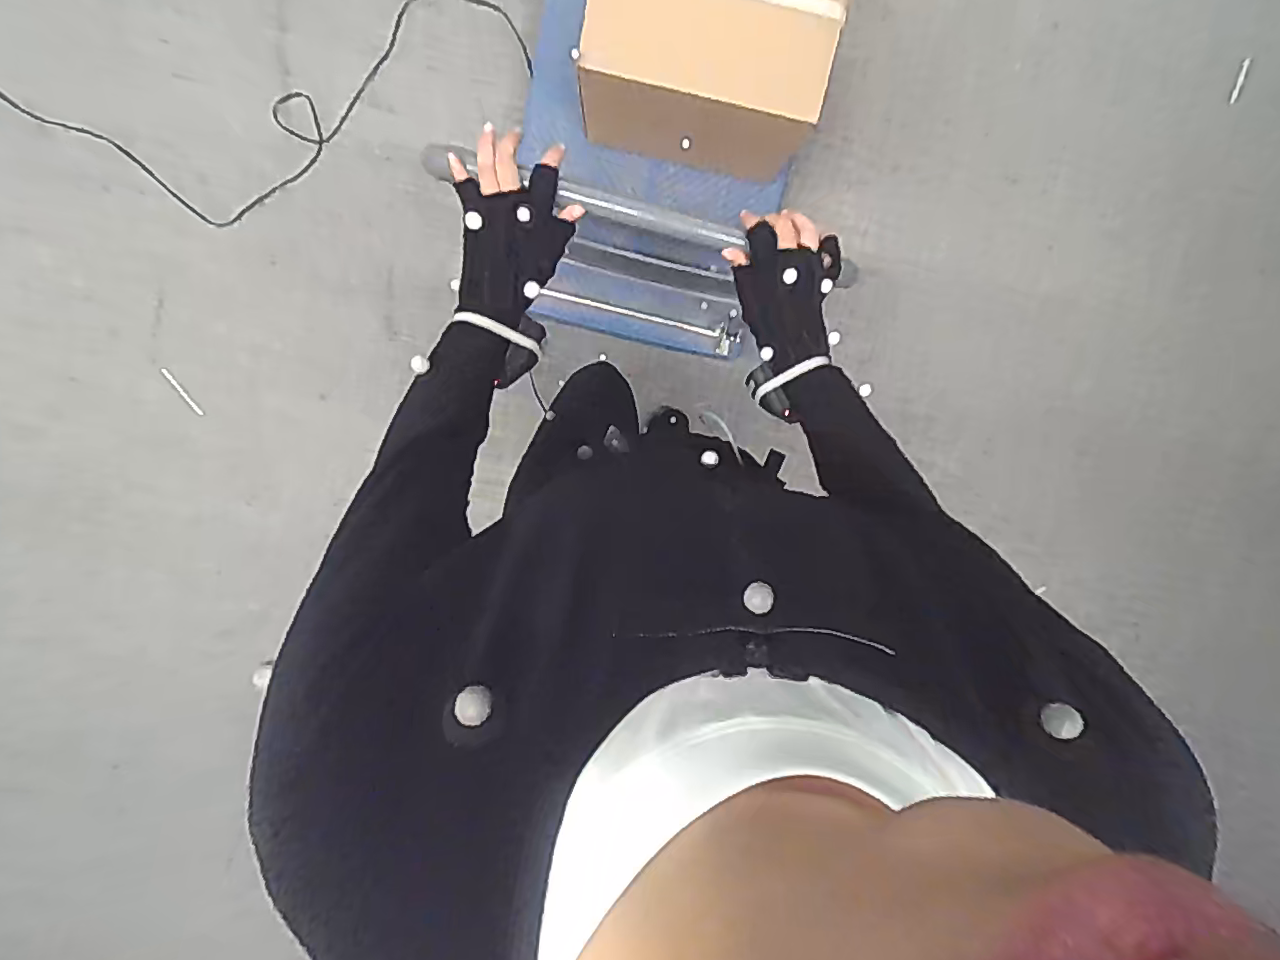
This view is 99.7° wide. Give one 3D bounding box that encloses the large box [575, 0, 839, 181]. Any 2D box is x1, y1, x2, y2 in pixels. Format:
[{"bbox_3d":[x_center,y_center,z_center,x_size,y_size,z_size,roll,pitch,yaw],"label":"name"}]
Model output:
[{"bbox_3d":[0.115,-0.798,0.998,0.408,0.320,0.320,11,100,-3],"label":"large box"}]
